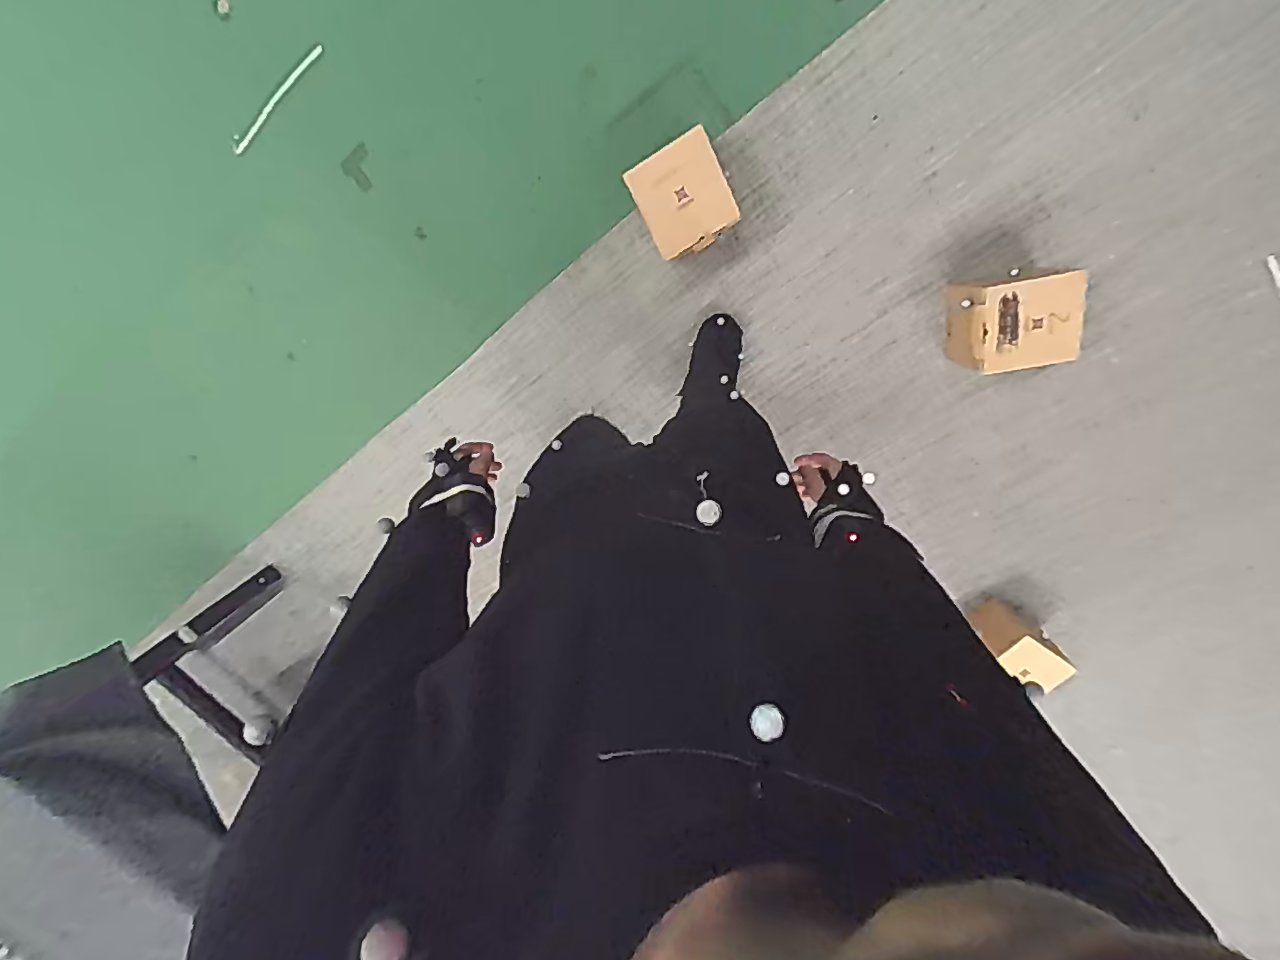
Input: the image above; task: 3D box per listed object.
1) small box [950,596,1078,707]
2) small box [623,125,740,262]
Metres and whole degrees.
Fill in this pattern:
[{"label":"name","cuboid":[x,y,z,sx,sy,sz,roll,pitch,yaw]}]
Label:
[{"label":"small box","cuboid":[0.938,0.429,1.377,0.168,0.176,0.179,33,114,-7]},{"label":"small box","cuboid":[0.087,-0.558,1.075,0.168,0.176,0.179,-26,107,16]}]
